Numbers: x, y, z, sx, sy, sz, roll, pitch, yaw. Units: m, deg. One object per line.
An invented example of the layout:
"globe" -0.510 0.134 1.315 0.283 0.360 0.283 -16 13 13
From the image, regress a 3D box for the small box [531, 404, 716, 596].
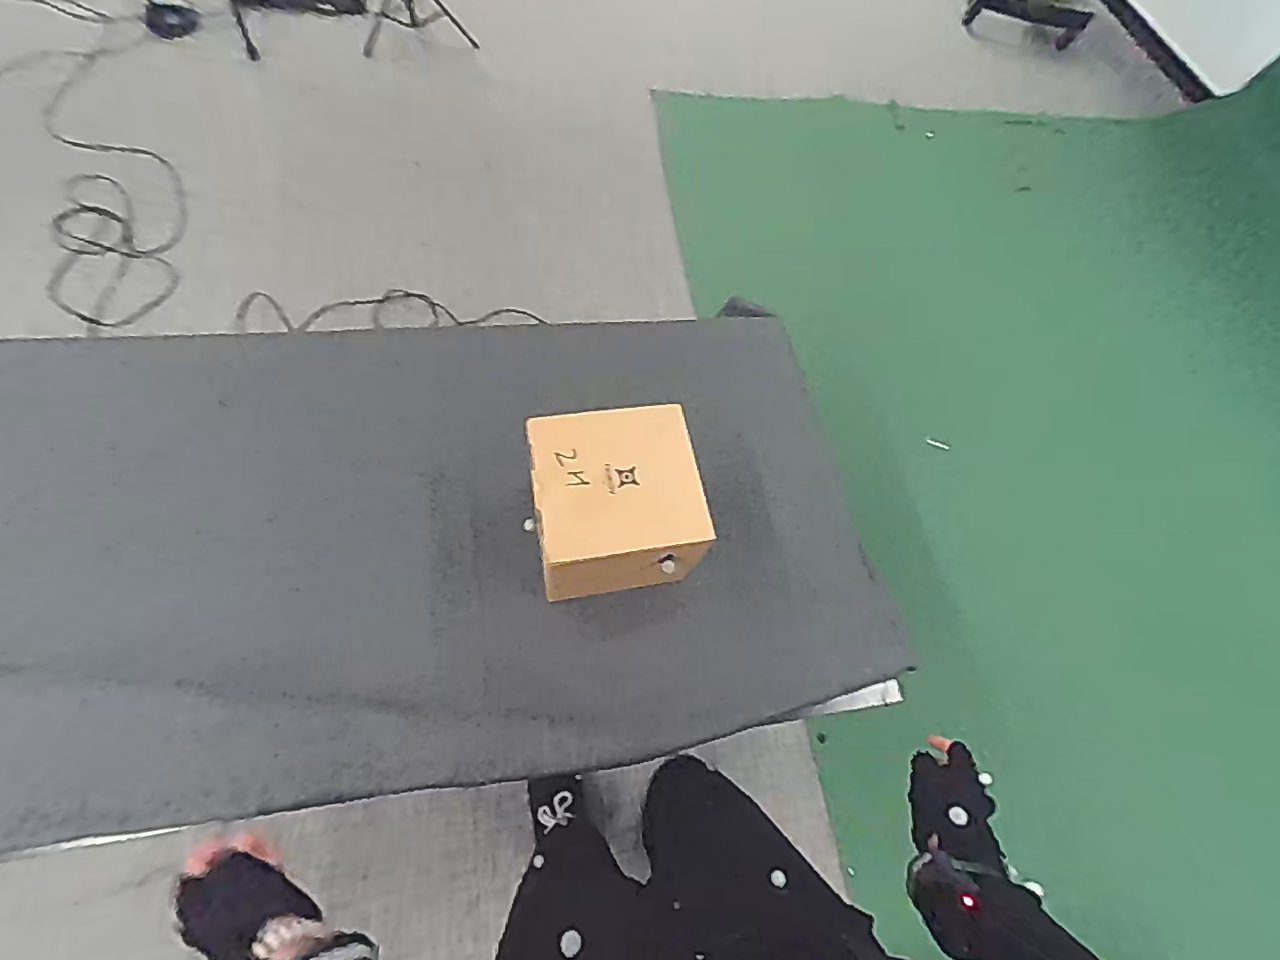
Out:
"small box" -0.031 0.029 0.636 0.179 0.176 0.168 -7 67 -12
